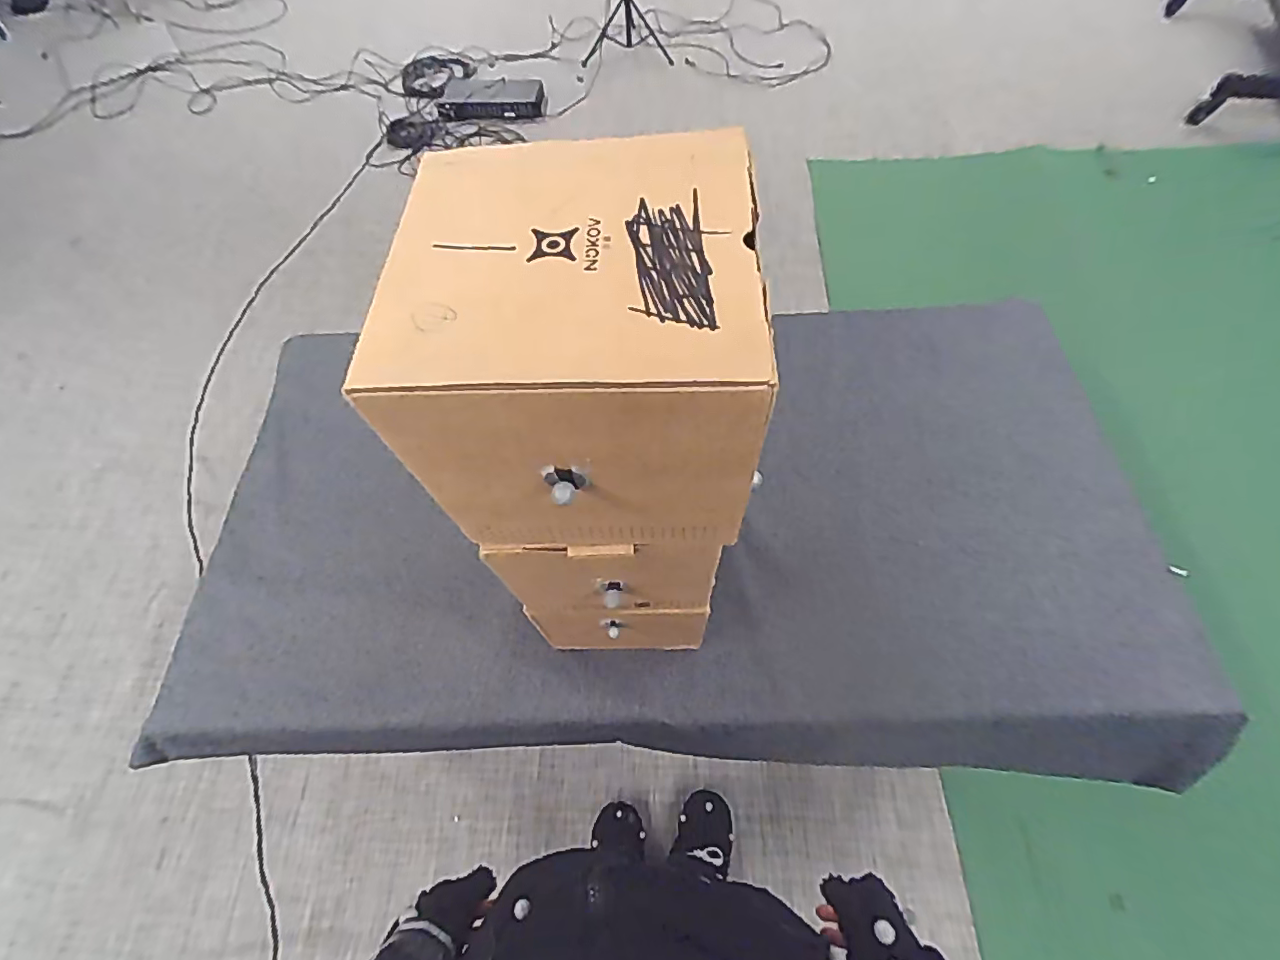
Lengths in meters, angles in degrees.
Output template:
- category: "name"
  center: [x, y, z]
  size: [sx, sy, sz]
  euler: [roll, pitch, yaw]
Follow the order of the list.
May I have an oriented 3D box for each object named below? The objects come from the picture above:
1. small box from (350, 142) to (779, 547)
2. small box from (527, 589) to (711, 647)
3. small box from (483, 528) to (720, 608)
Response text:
- category: "small box"
  center: [-0.026, -0.066, 0.321]
  size: [0.179, 0.176, 0.168]
  euler: [-1, 61, 4]
- category: "small box"
  center: [-0.017, 0.090, 0.610]
  size: [0.179, 0.176, 0.168]
  euler: [-1, 62, 1]
- category: "small box"
  center: [-0.023, 0.009, 0.469]
  size: [0.168, 0.176, 0.179]
  euler: [-3, 62, 2]
